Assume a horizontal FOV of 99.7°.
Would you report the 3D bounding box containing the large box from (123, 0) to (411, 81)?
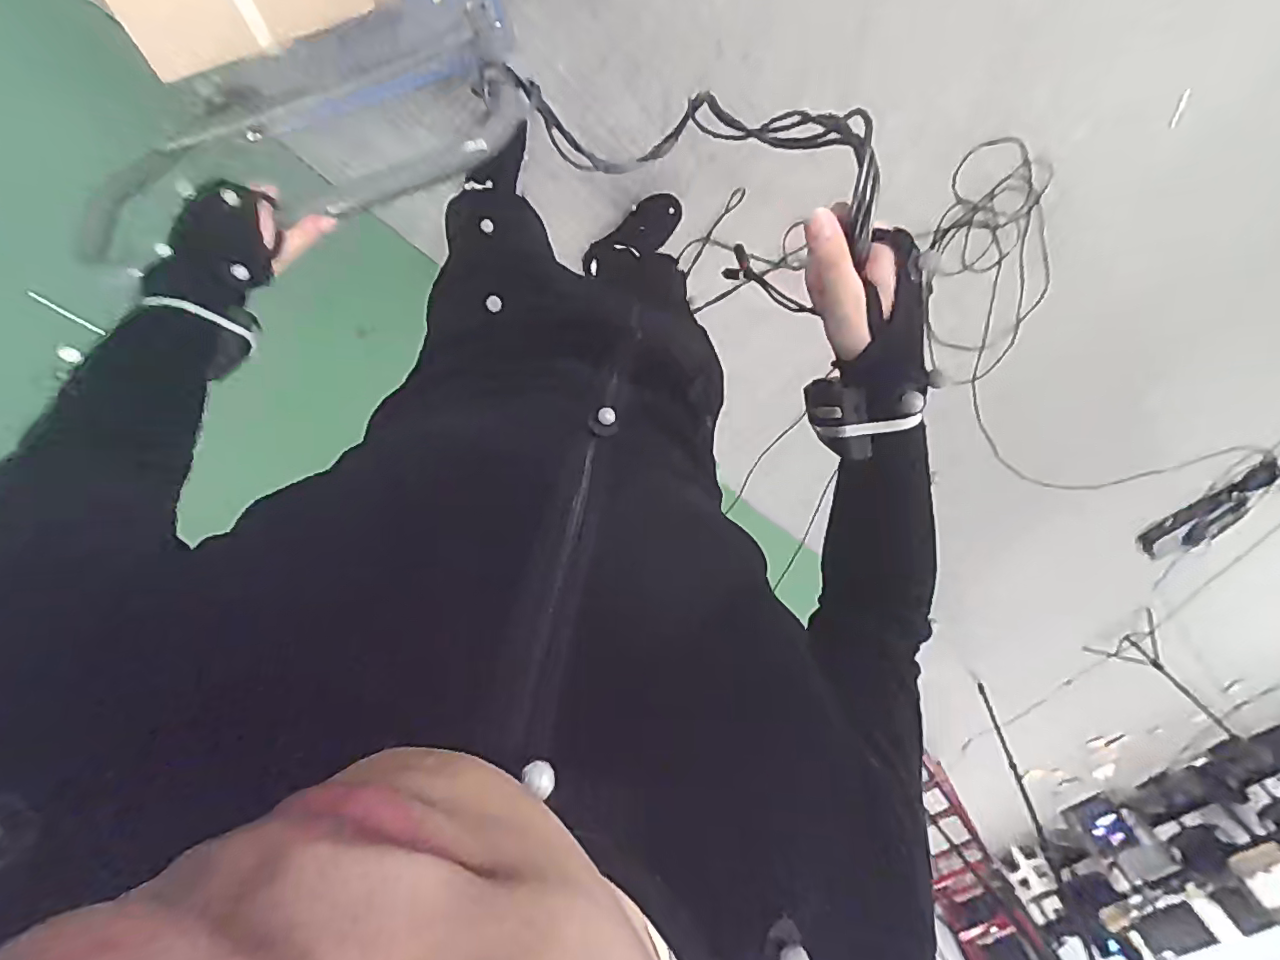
[{"bbox_3d":[-0.563,-0.825,0.713,0.320,0.320,0.408,-19,133,1],"label":"large box"}]
